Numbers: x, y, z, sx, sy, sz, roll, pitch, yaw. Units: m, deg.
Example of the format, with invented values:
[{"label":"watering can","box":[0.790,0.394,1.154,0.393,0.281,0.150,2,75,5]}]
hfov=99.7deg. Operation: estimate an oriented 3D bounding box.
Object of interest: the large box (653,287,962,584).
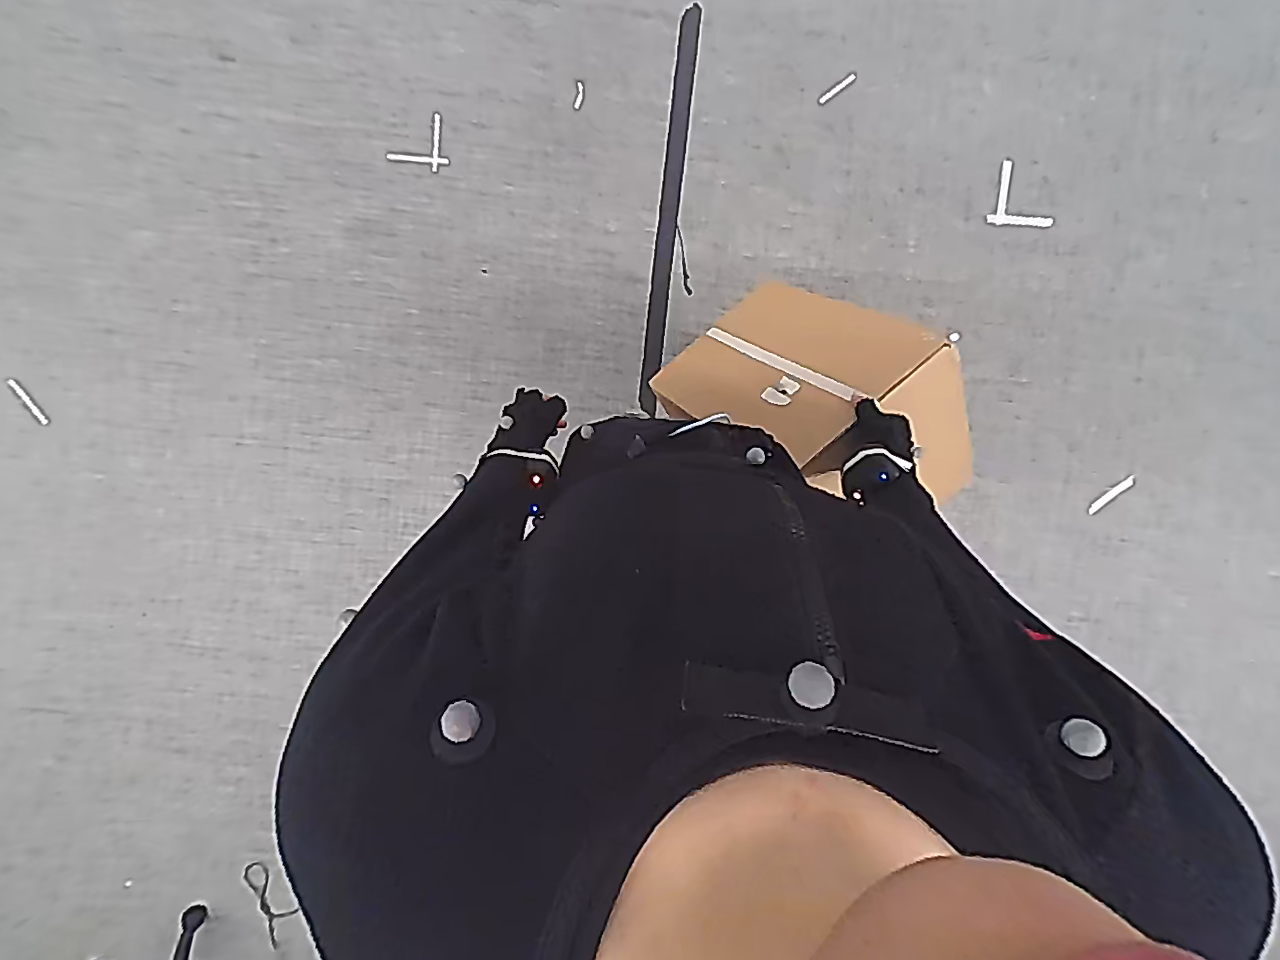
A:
[{"label":"large box","box":[0.293,-0.095,0.980,0.320,0.408,0.320,-39,131,-3]}]
